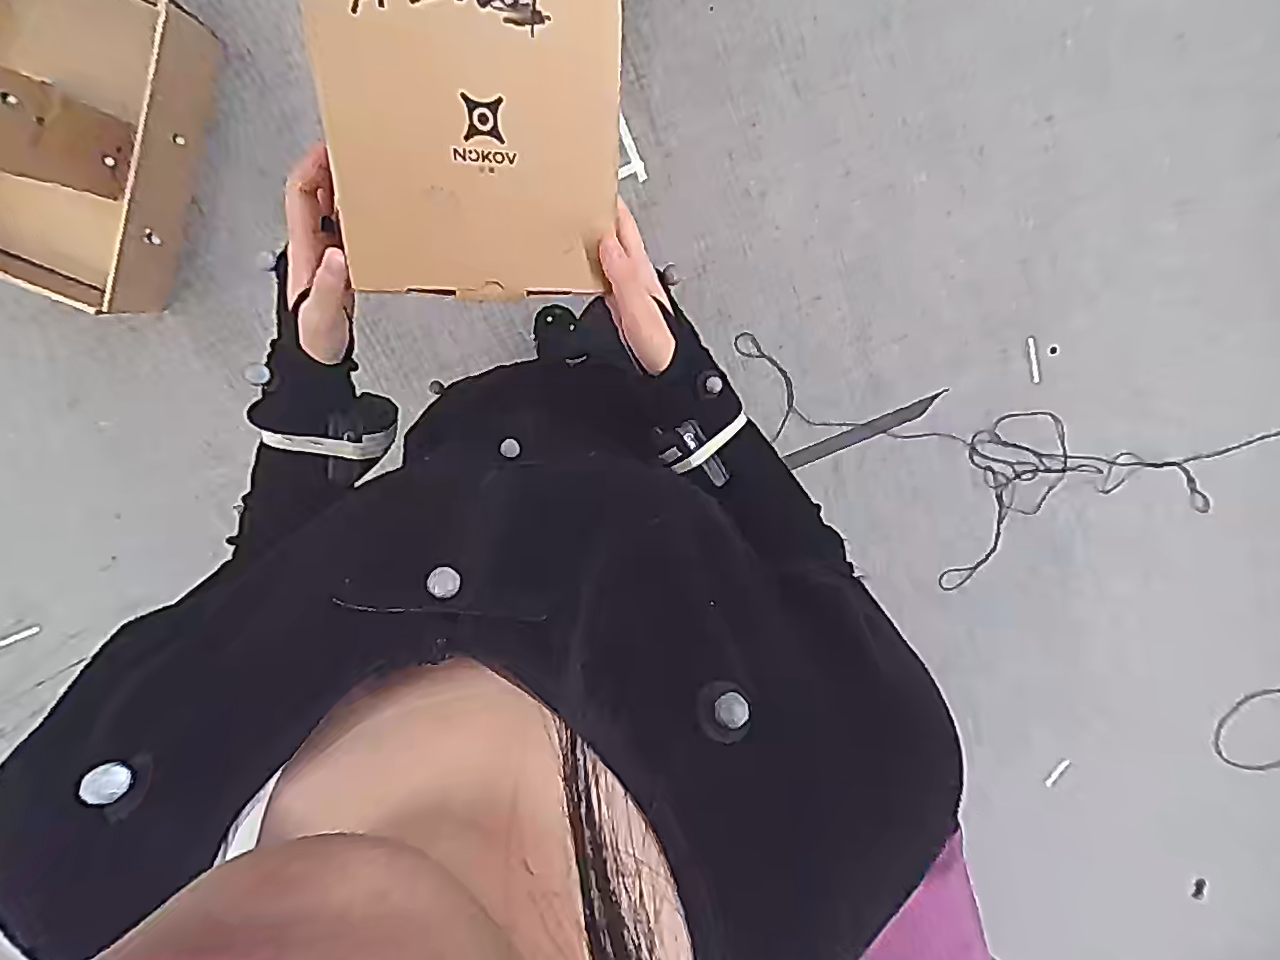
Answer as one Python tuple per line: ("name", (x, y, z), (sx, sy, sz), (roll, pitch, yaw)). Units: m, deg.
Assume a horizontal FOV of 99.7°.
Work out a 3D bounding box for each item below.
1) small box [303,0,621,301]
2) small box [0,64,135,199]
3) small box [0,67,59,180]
("small box", (-0.118, -0.232, 0.384), (0.168, 0.176, 0.179), (-6, 118, -18))
("small box", (-1.160, -0.679, 1.057), (0.179, 0.176, 0.168), (21, 103, -13))
("small box", (-1.145, -0.629, 0.904), (0.179, 0.176, 0.168), (18, 102, -11))
